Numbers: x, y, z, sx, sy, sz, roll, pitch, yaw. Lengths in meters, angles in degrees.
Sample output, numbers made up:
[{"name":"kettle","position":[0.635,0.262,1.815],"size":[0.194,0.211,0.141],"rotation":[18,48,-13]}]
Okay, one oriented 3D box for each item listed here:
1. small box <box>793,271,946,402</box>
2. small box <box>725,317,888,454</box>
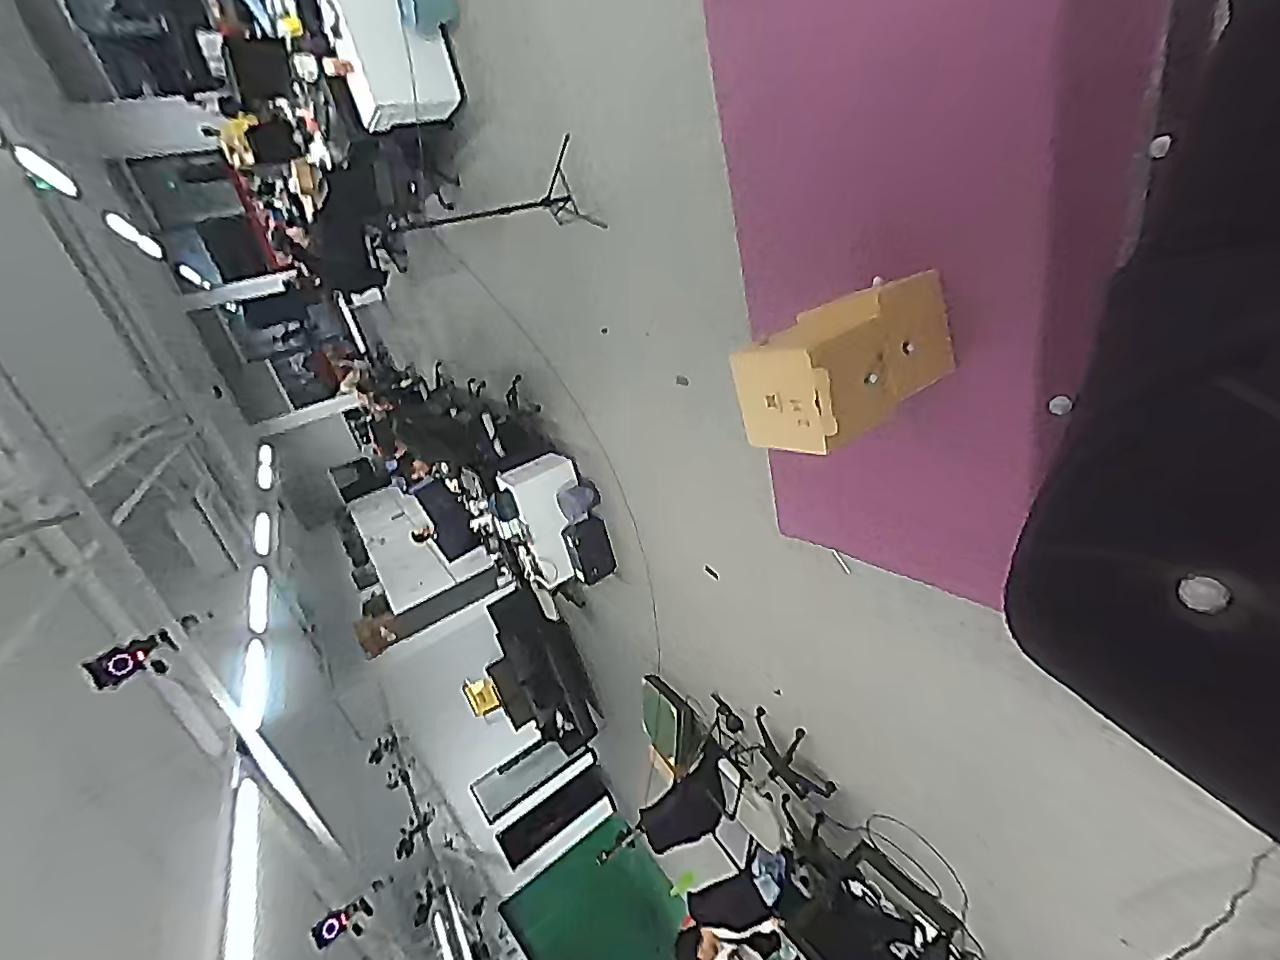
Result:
[{"name":"small box","position":[0.402,-0.241,0.943],"size":[0.168,0.176,0.179],"rotation":[6,119,59]},{"name":"small box","position":[0.272,-0.157,0.885],"size":[0.179,0.176,0.168],"rotation":[15,127,57]}]
